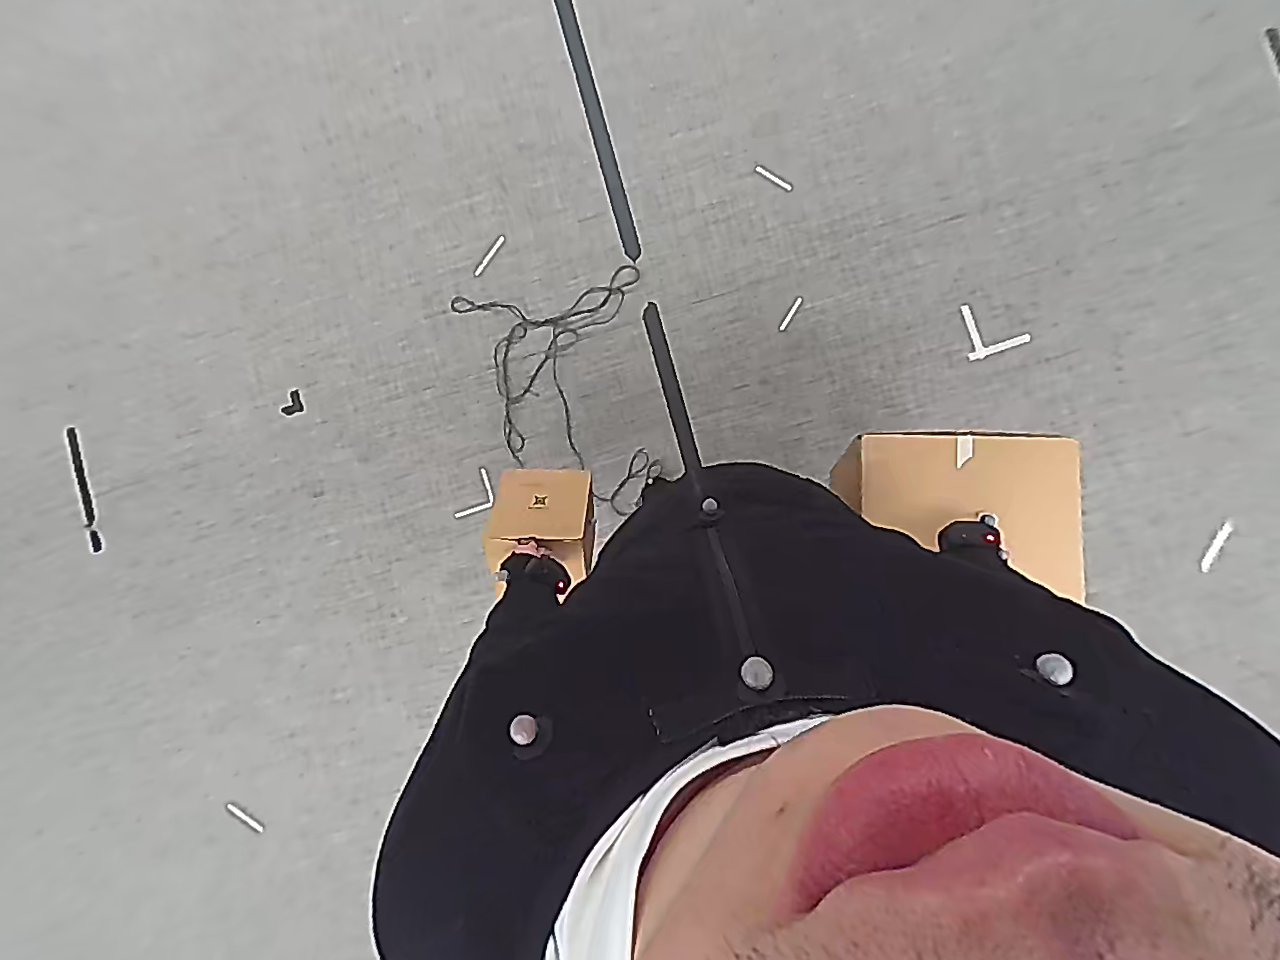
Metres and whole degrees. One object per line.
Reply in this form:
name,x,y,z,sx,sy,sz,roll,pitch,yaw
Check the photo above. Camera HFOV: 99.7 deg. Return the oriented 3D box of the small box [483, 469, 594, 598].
small box,-0.174,0.100,0.992,0.168,0.179,0.176,2,132,-1
